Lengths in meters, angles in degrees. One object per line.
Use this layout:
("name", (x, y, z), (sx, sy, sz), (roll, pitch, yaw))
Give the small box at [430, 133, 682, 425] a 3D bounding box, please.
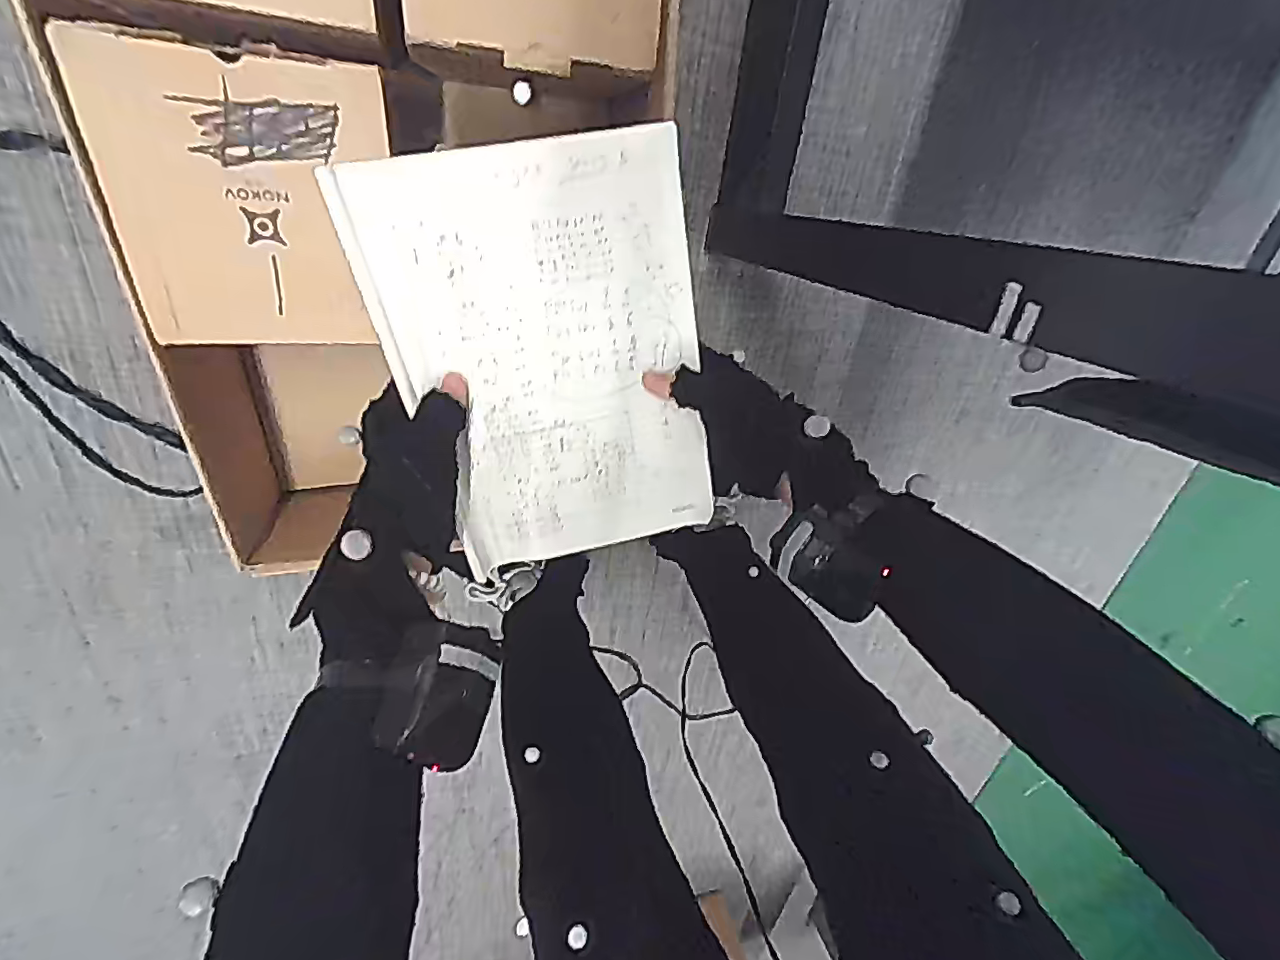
("small box", (-0.082, -0.148, 0.446), (0.168, 0.176, 0.179), (-1, 107, -23))
